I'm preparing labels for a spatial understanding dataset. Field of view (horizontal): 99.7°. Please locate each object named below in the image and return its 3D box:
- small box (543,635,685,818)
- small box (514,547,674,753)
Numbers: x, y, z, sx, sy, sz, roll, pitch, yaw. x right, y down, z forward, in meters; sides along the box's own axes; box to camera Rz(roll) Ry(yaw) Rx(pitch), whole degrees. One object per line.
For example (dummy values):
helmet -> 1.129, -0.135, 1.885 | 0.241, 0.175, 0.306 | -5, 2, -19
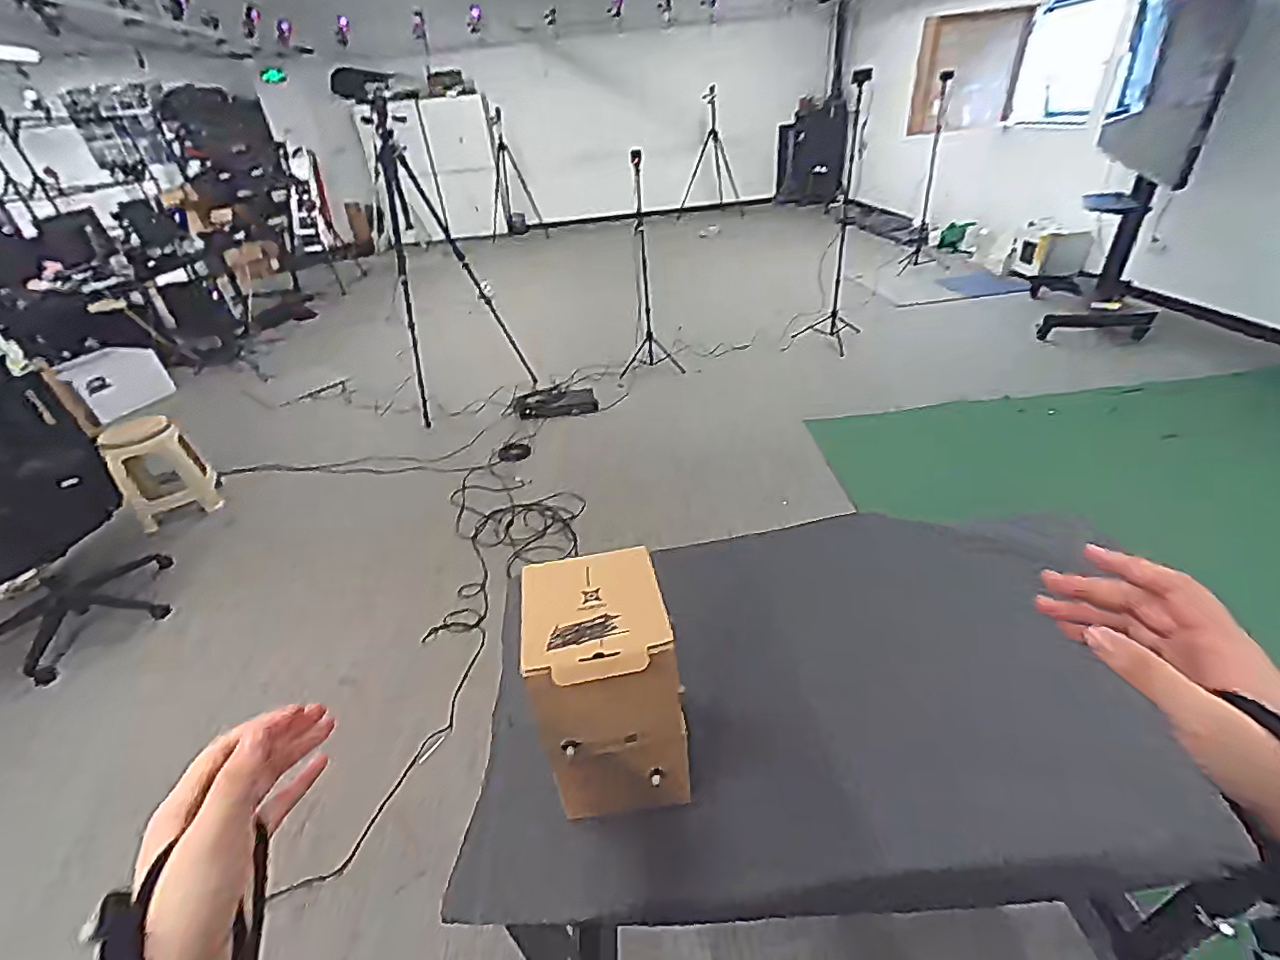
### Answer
small box -> -0.032, 0.348, 0.770 | 0.179, 0.176, 0.168 | -8, 32, -2
small box -> -0.057, 0.213, 0.678 | 0.168, 0.176, 0.179 | -10, 32, -6
